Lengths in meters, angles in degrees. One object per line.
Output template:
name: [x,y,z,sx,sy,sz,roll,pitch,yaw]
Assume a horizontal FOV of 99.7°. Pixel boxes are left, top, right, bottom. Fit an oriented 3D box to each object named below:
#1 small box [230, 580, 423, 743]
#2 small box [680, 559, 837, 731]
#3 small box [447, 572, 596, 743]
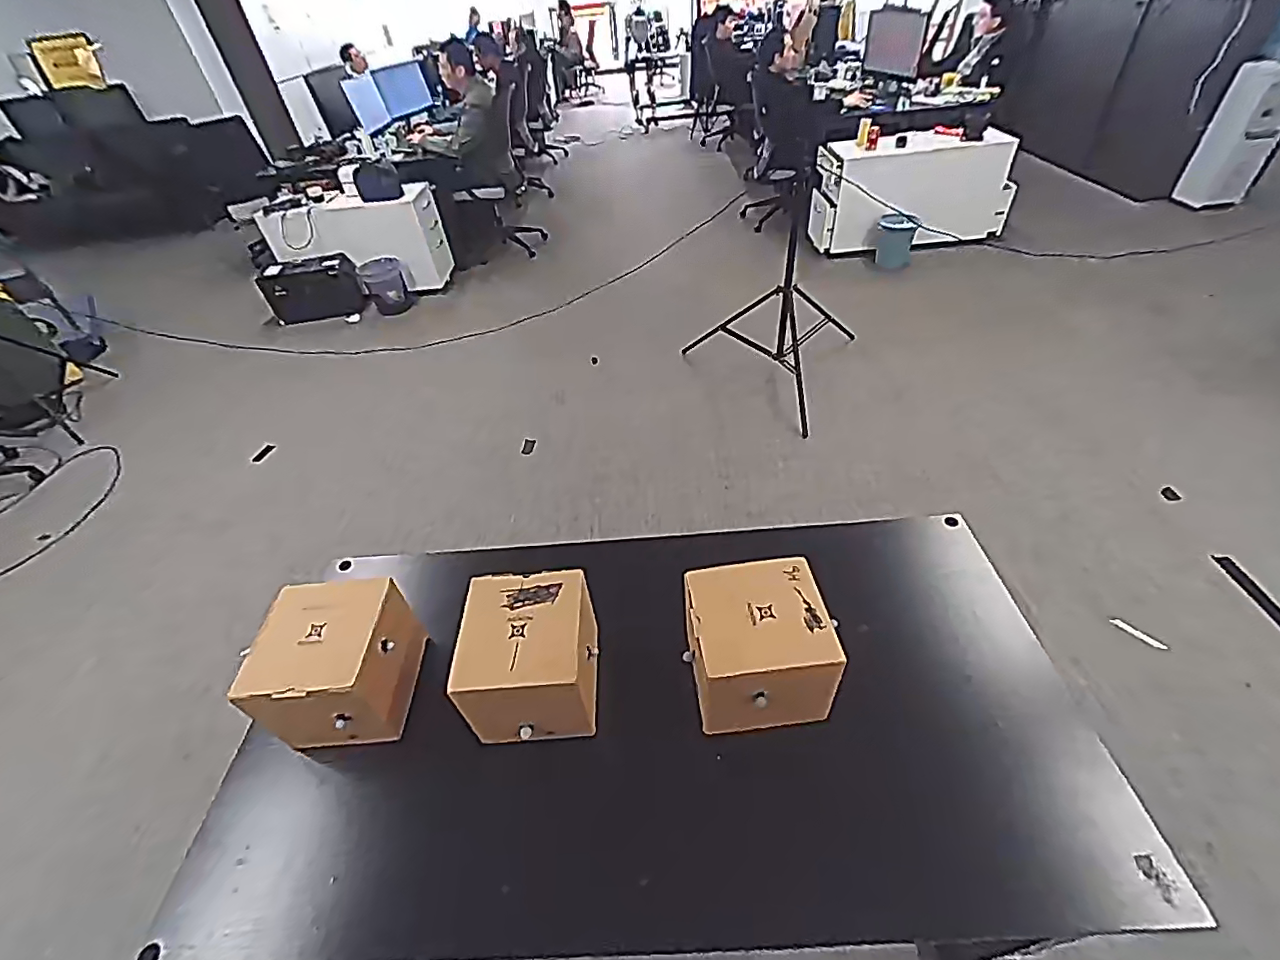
small box: [-0.444,0.274,0.806,0.168,0.176,0.179,-5,42,0]
small box: [0.159,0.238,0.771,0.179,0.176,0.168,-8,43,0]
small box: [-0.158,0.258,0.788,0.168,0.176,0.179,-5,44,2]
